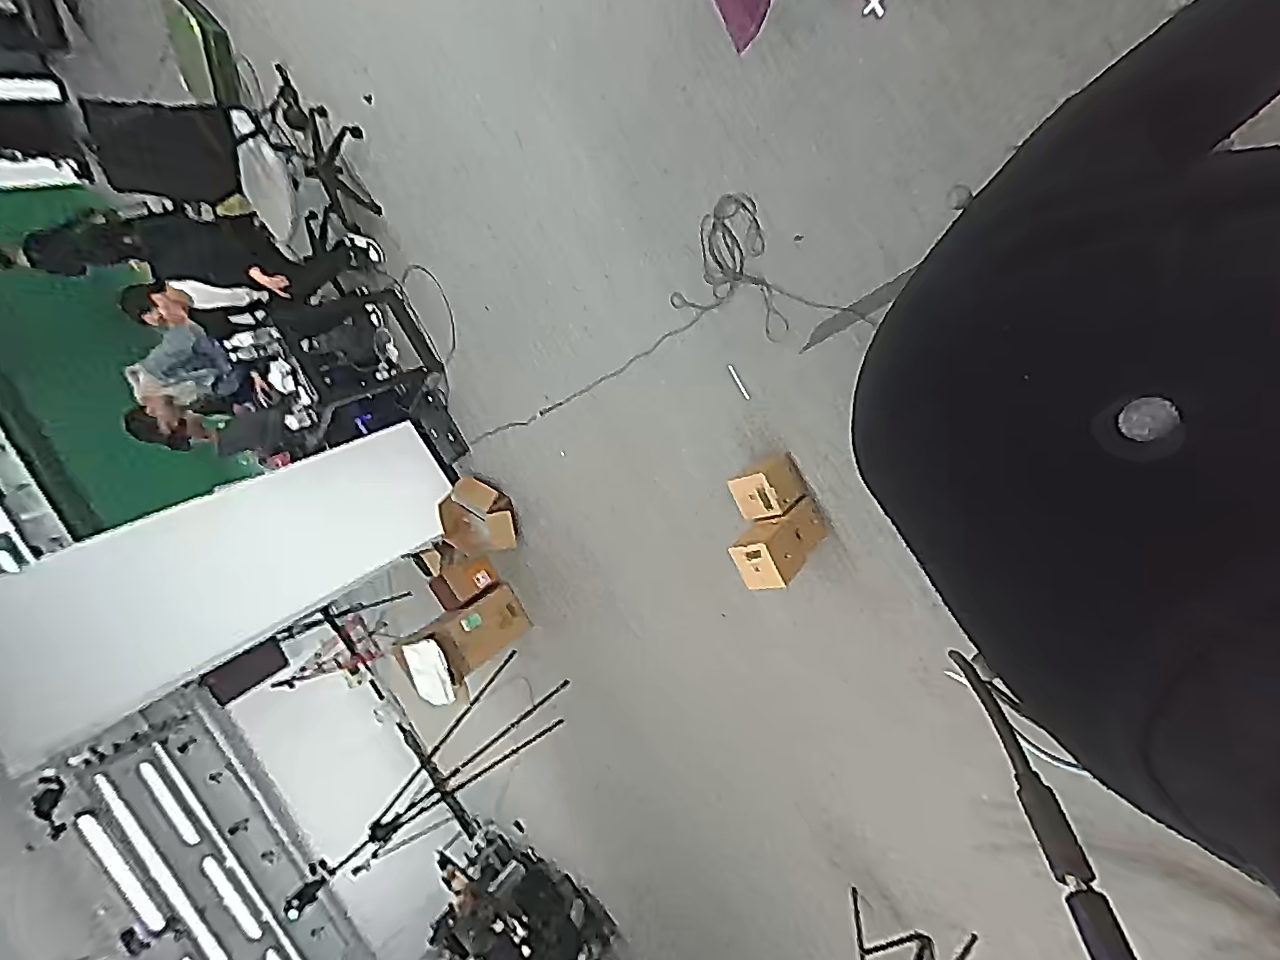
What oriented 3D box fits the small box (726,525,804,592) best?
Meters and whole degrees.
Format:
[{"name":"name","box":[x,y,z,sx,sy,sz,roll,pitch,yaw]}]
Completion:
[{"name":"small box","box":[0.438,0.268,1.888,0.168,0.176,0.179,-19,102,50]}]
